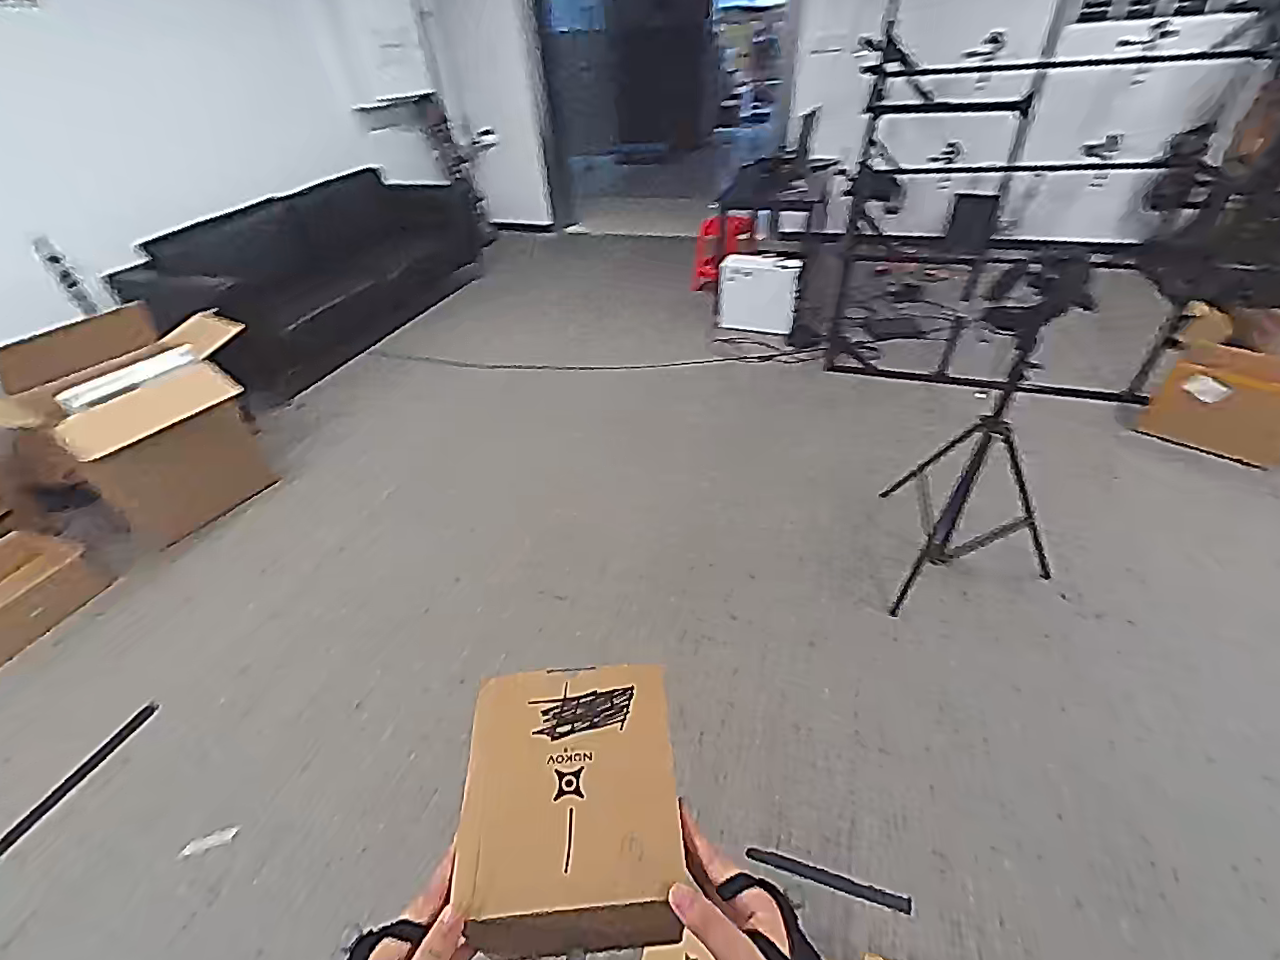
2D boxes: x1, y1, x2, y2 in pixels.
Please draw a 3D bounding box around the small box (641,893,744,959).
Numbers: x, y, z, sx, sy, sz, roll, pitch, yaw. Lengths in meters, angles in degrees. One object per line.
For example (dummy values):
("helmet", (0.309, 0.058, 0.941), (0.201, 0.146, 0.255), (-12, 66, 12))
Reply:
("small box", (0.086, 0.908, 0.987), (0.168, 0.176, 0.179), (10, 41, 16))
